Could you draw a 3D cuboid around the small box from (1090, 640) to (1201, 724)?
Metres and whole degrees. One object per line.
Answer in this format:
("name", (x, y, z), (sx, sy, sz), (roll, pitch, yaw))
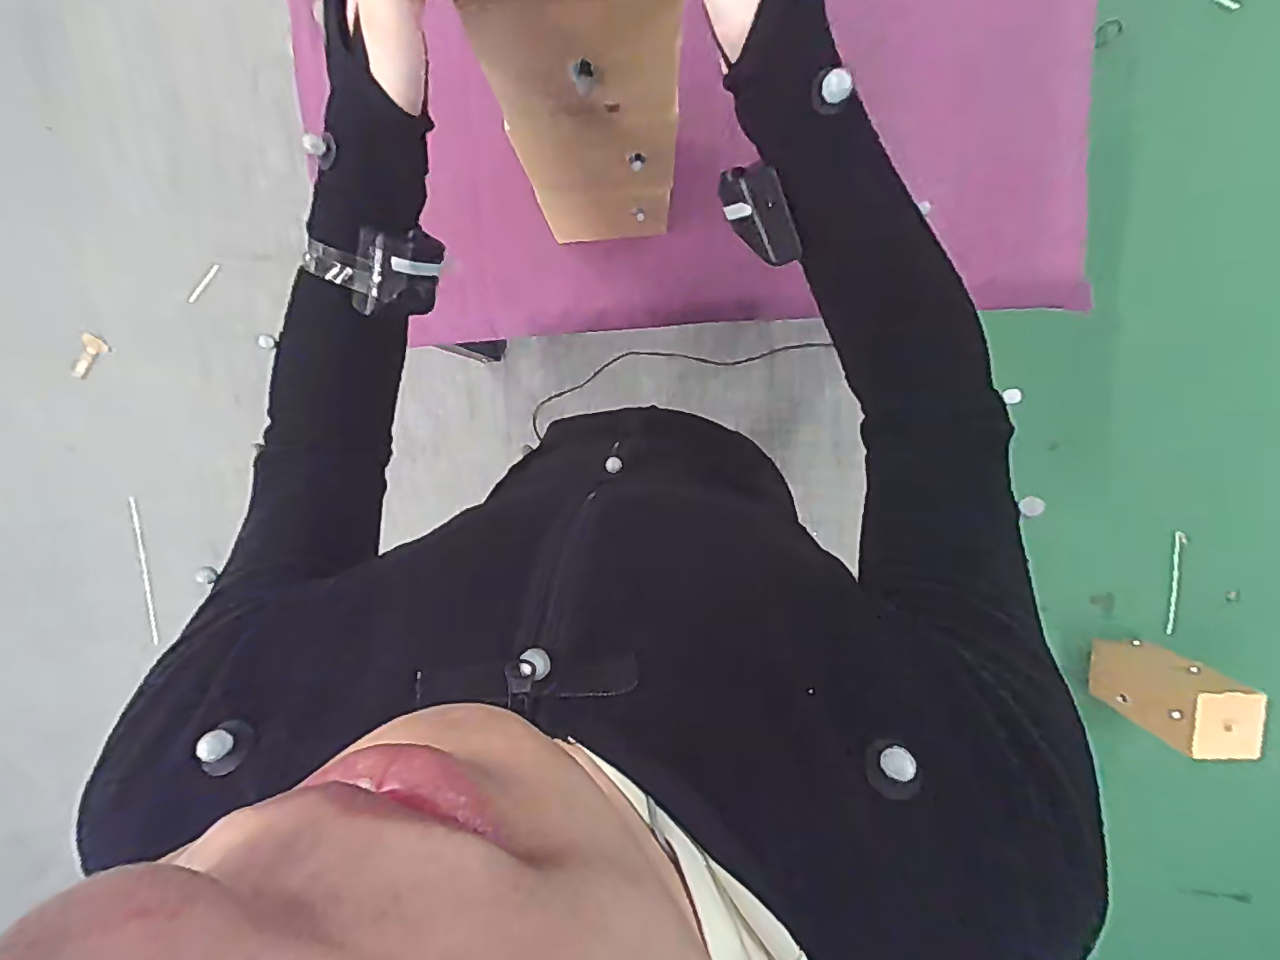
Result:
("small box", (1.461, 0.587, 1.575), (0.168, 0.176, 0.179), (0, 97, 1))

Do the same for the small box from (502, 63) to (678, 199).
("small box", (-0.053, -0.438, 0.607), (0.179, 0.176, 0.168), (-4, 95, 2))

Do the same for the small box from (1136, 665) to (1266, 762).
("small box", (1.454, 0.606, 1.413), (0.168, 0.176, 0.179), (-1, 96, 2))

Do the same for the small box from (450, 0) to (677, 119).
("small box", (-0.057, -0.429, 0.445), (0.168, 0.176, 0.179), (-5, 96, 1))
